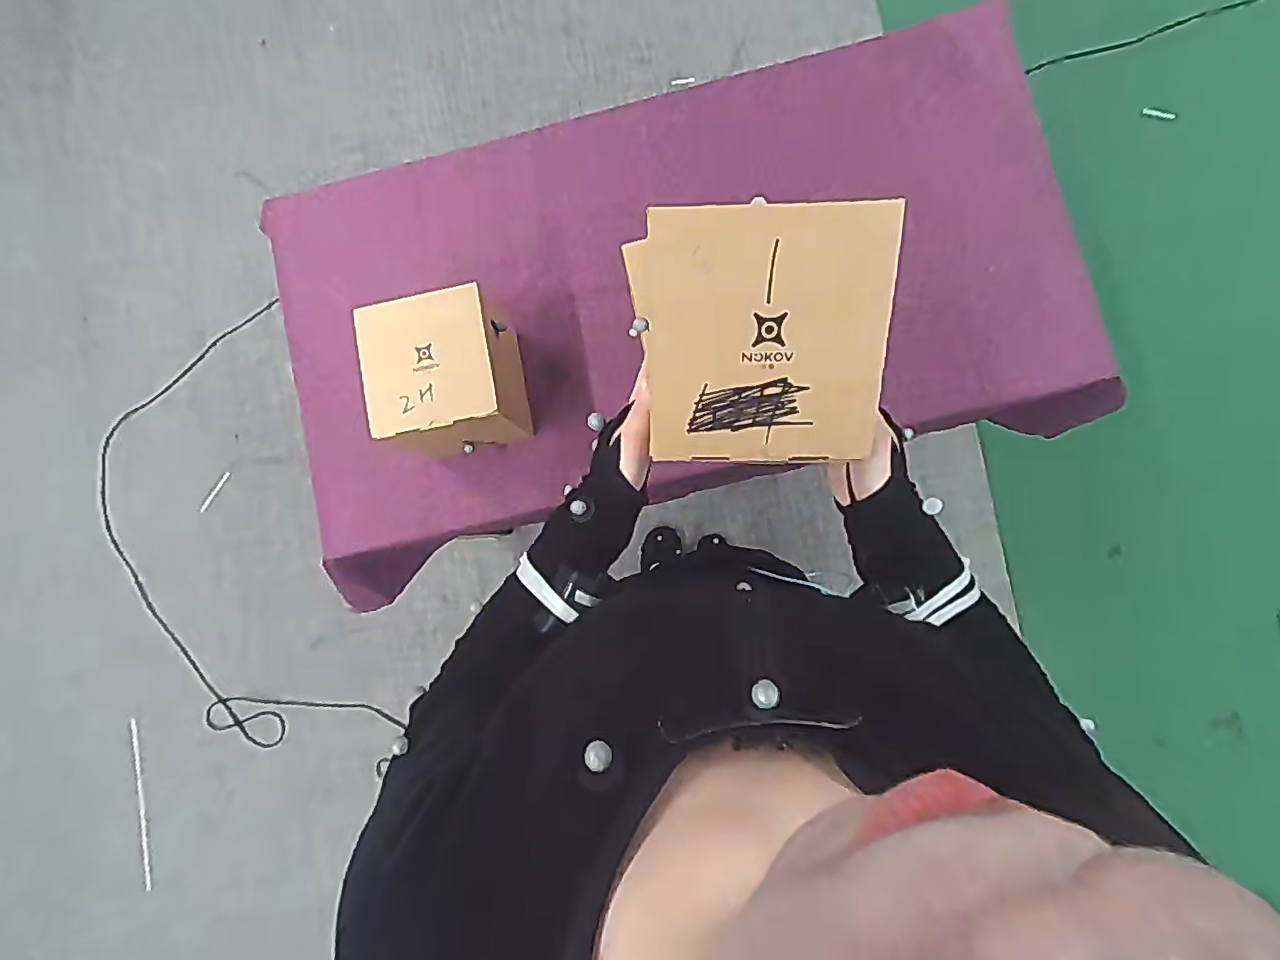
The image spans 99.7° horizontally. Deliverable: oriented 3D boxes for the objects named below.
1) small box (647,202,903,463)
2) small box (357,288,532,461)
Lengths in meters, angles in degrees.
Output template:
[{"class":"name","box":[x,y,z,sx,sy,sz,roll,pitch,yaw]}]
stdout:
[{"class":"small box","box":[0.092,-0.122,0.450,0.168,0.176,0.179,-1,109,3]},{"class":"small box","box":[-0.262,-0.135,0.755,0.168,0.176,0.179,-12,83,3]}]
